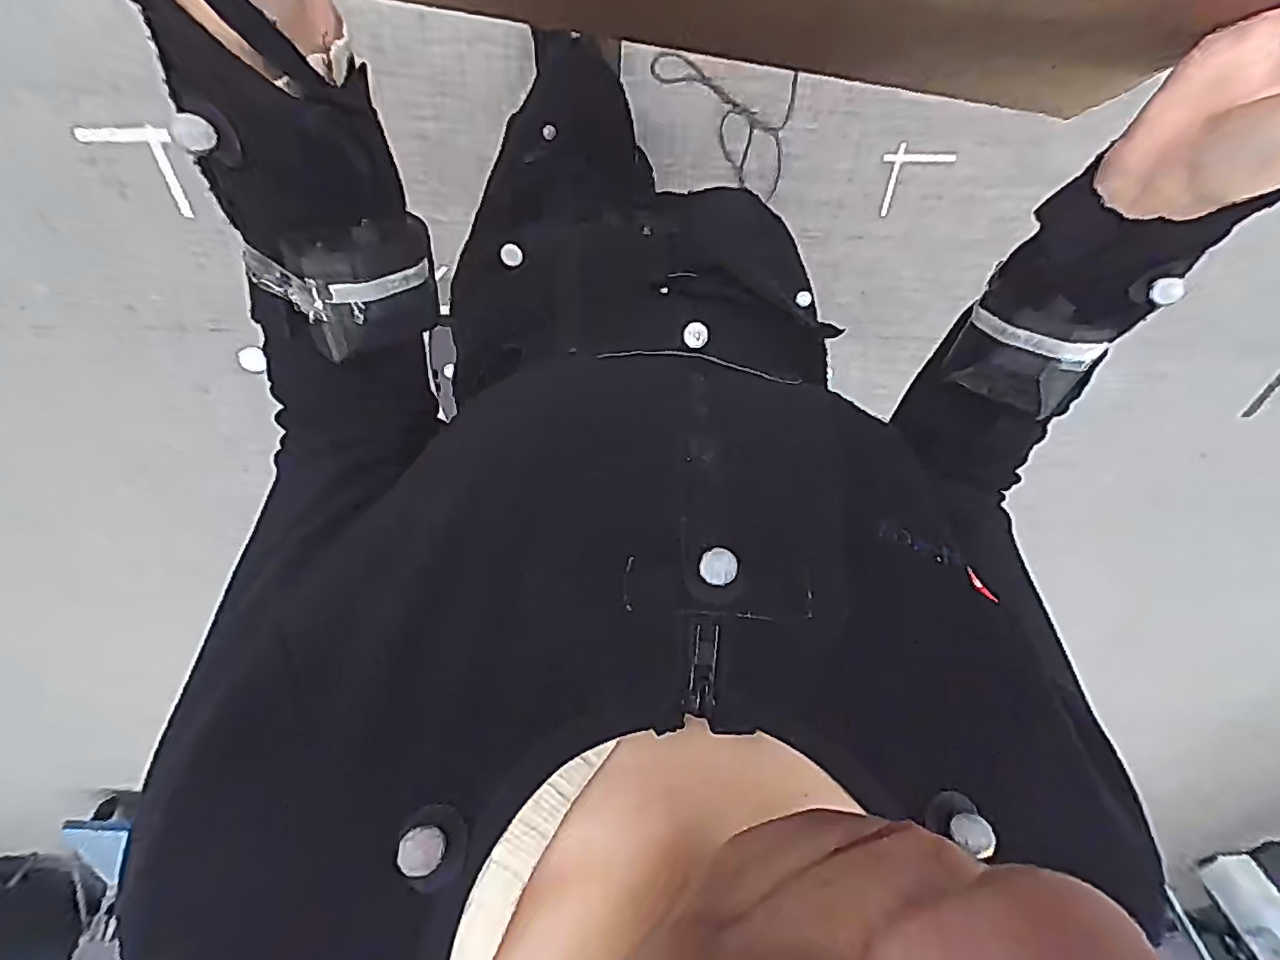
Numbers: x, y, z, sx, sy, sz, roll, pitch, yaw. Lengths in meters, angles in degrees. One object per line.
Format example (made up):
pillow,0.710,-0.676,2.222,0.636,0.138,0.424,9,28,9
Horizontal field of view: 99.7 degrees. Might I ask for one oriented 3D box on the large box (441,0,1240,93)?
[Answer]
large box,0.077,-0.355,0.119,0.408,0.320,0.320,3,102,-7
